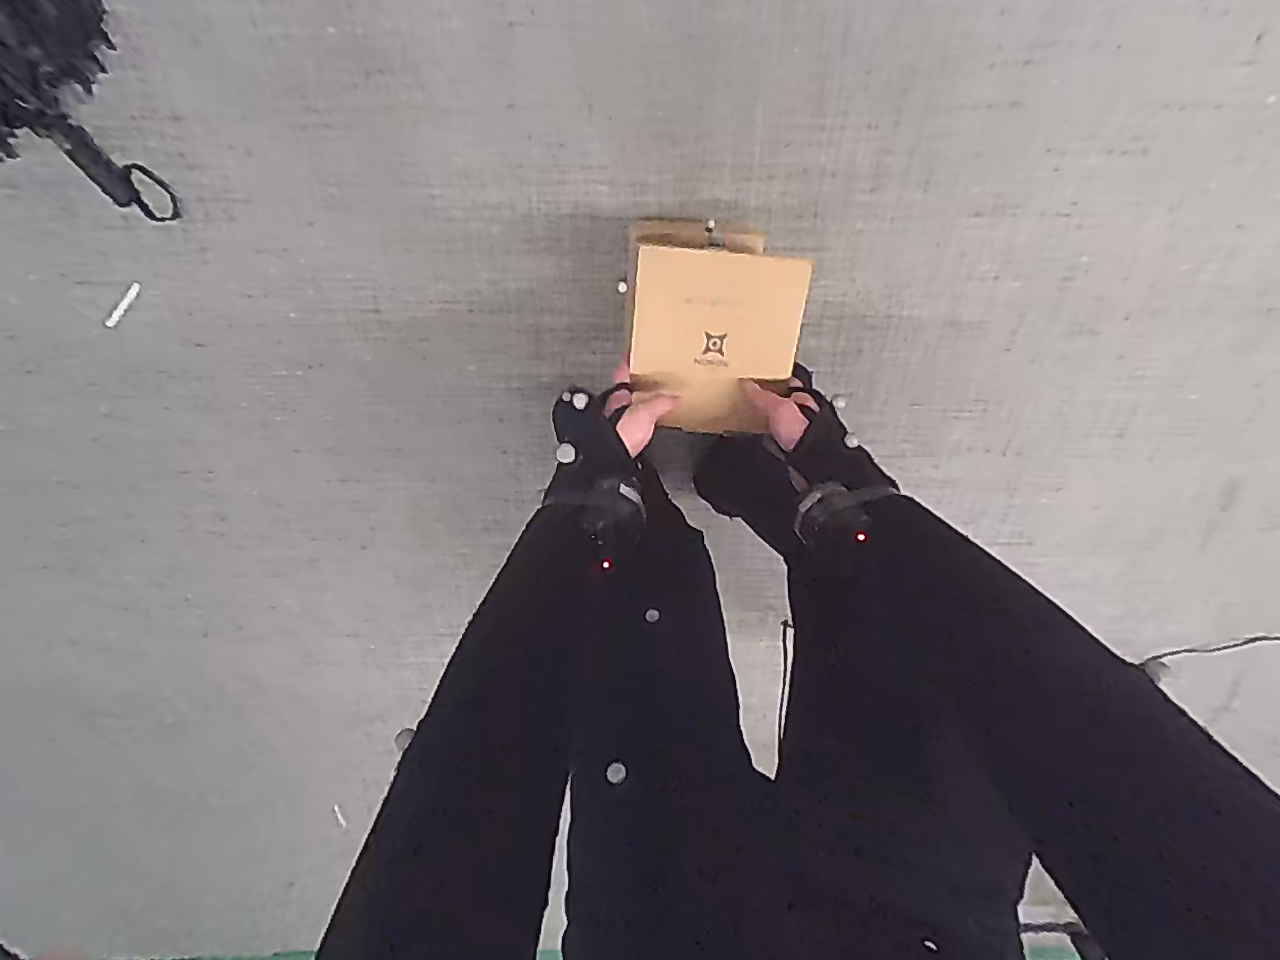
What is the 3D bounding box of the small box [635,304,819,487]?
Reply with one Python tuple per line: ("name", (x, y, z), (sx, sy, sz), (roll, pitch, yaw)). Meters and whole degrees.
("small box", (0.083, -0.103, 0.617), (0.168, 0.176, 0.179), (1, 109, -5))
